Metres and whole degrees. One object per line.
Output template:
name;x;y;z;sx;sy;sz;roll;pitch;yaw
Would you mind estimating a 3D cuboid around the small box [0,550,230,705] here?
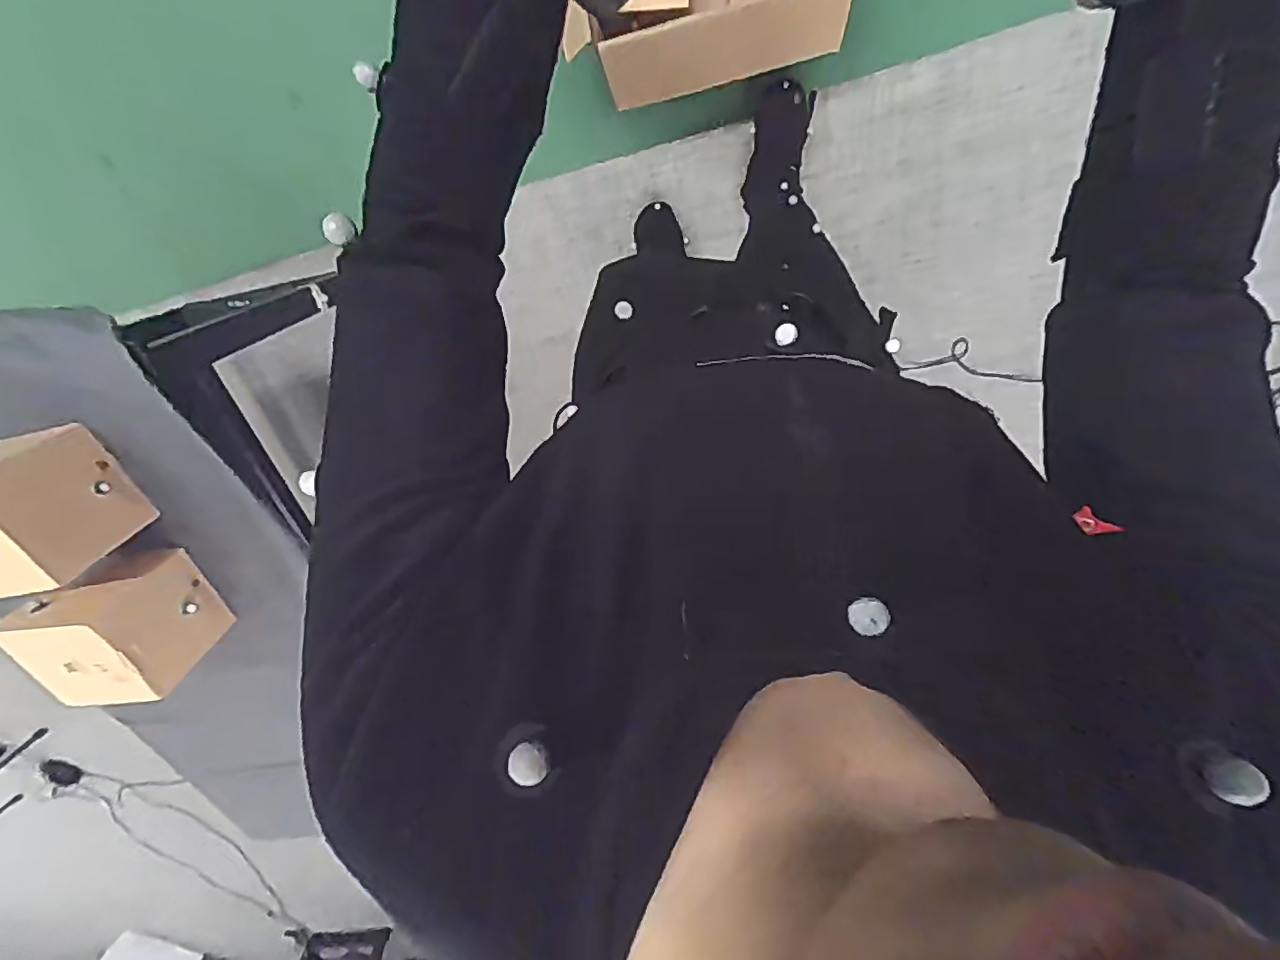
small box;-0.814;0.228;0.853;0.179;0.176;0.168;-6;121;7
